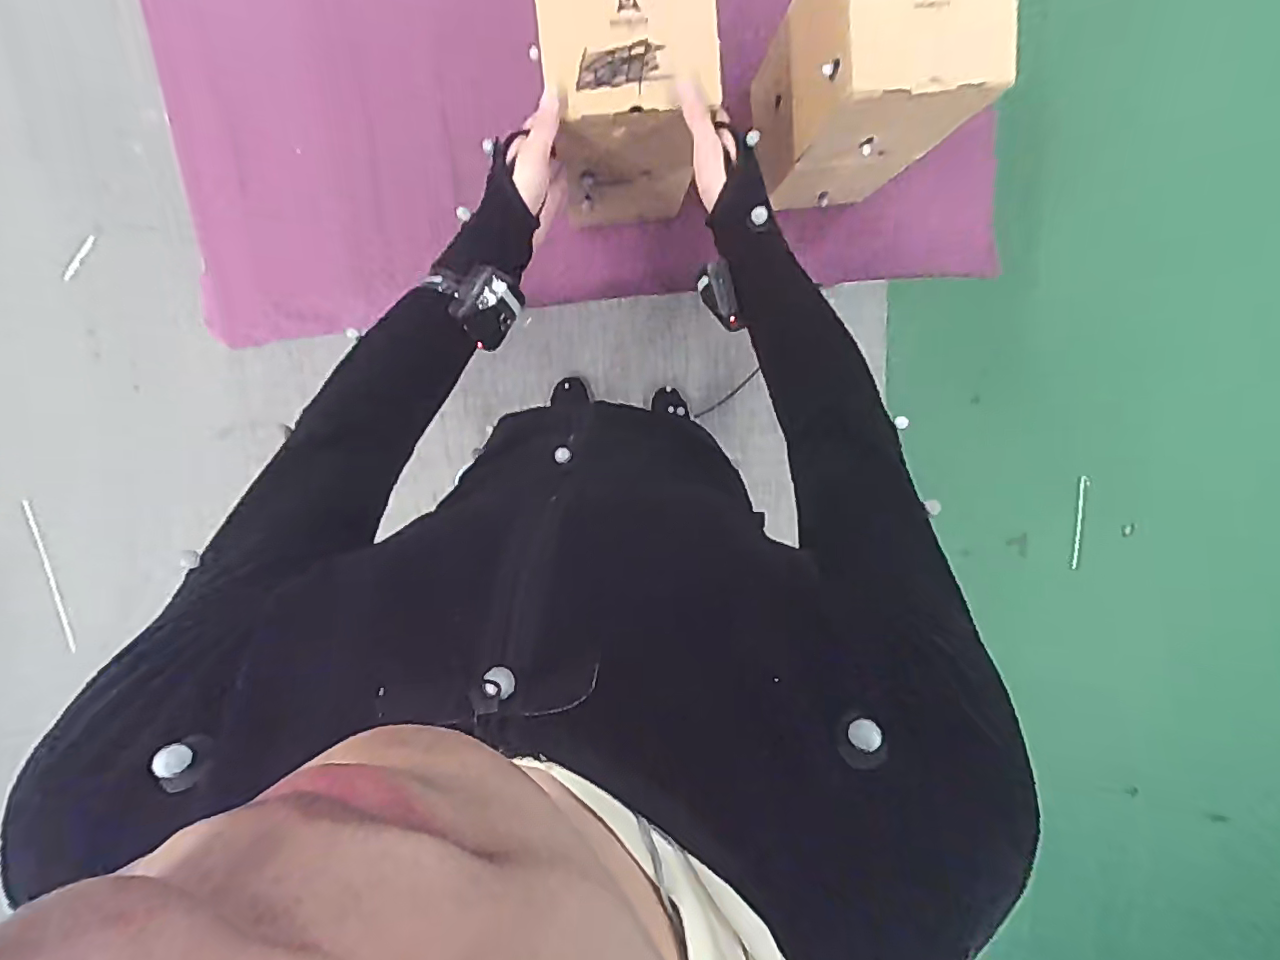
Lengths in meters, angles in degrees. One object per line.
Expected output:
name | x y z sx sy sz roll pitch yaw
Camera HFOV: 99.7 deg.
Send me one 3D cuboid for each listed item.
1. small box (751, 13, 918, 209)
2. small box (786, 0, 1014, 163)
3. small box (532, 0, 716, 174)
small box | 0.257 -0.499 0.744 0.168 0.176 0.179 -7 100 -2
small box | 0.265 -0.475 0.584 0.168 0.176 0.179 -6 101 -3
small box | -0.020 -0.442 0.569 0.168 0.176 0.179 -6 100 -3
